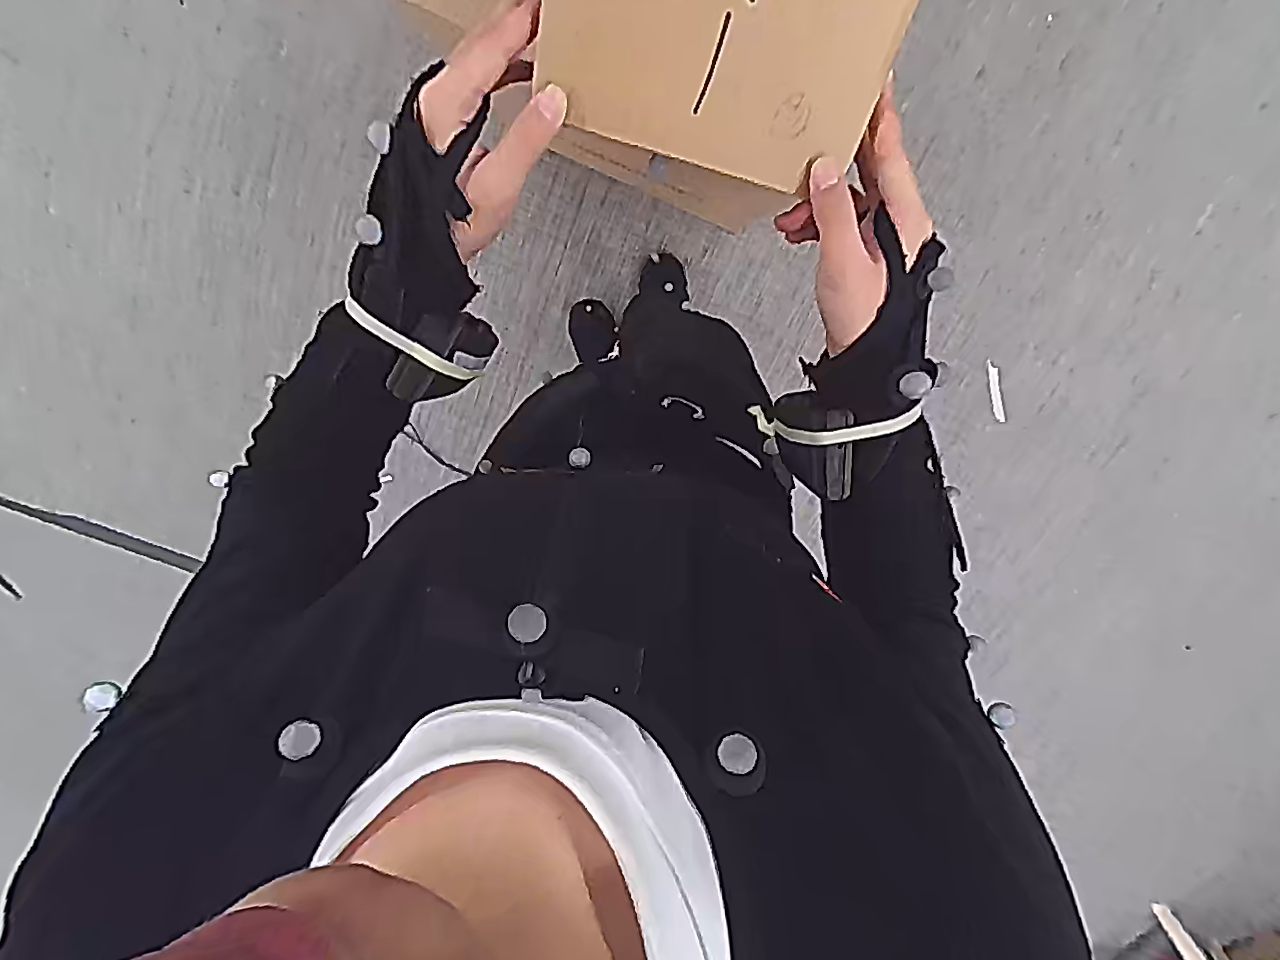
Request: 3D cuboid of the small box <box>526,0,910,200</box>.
[{"bbox_3d":[0.043,-0.282,0.298,0.168,0.176,0.179,13,123,-9],"label":"small box"}]
